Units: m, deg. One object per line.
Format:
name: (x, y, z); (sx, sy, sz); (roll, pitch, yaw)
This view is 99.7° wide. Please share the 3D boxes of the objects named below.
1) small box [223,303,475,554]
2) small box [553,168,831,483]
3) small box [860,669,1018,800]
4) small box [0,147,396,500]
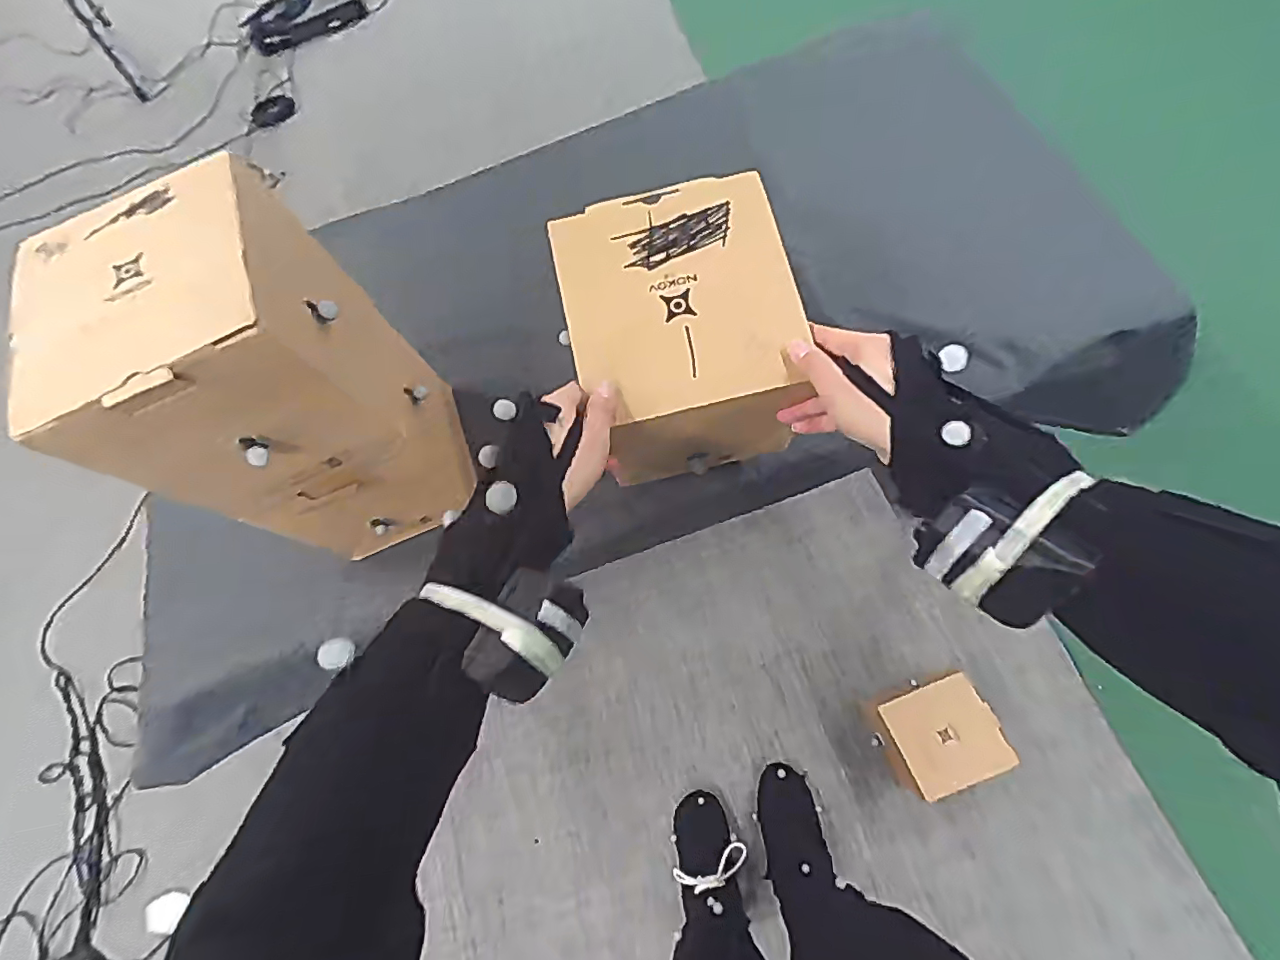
small box: (-0.300, -0.043, 0.572); (0.168, 0.176, 0.179); (-24, 68, 0)
small box: (0.037, -0.112, 0.455); (0.168, 0.176, 0.179); (-13, 77, 3)
small box: (0.548, 0.469, 1.021); (0.179, 0.176, 0.168); (-24, 67, 0)
small box: (-0.319, -0.100, 0.419); (0.168, 0.176, 0.179); (-25, 69, -1)
